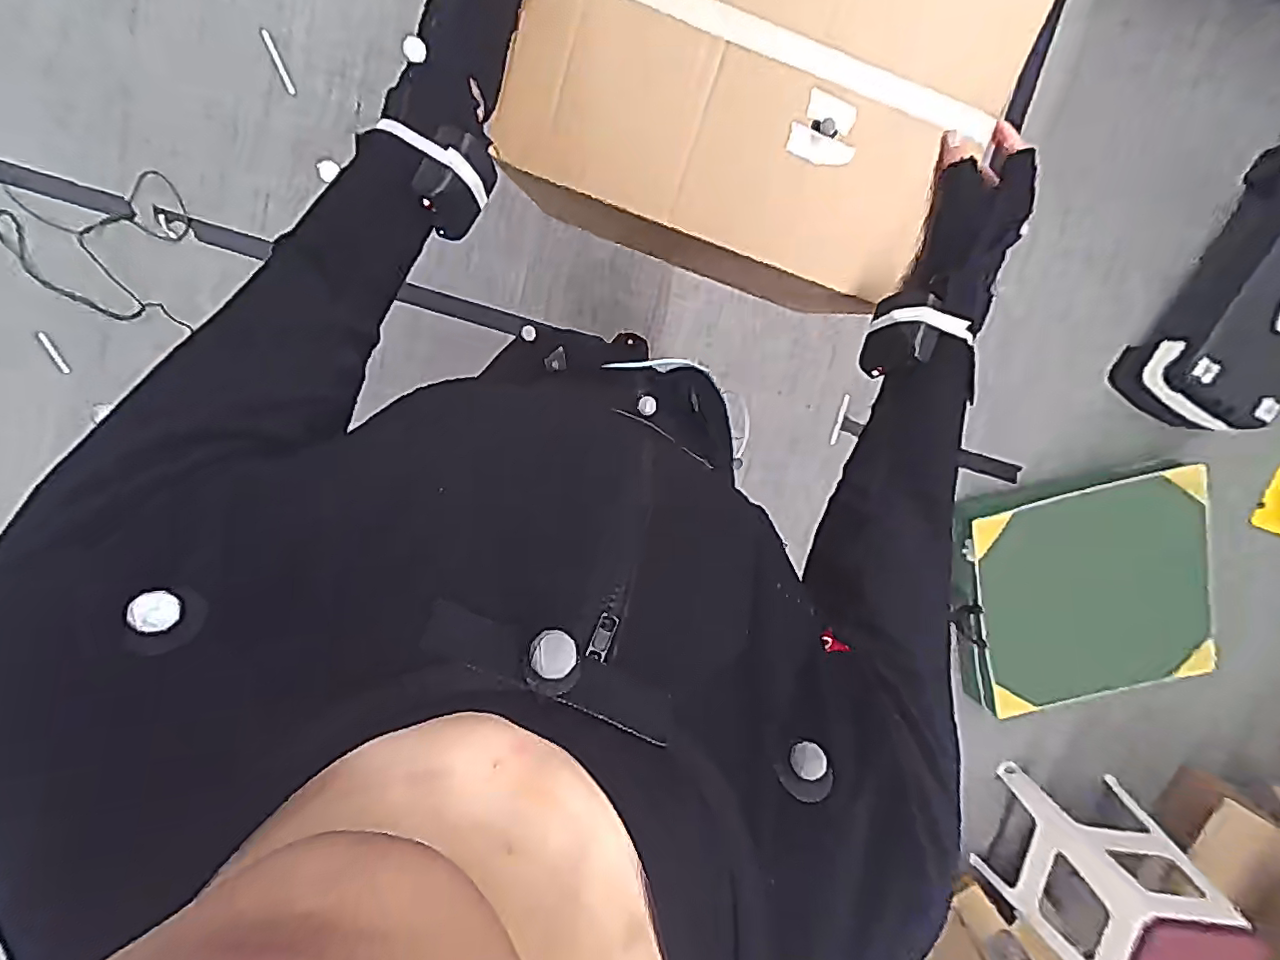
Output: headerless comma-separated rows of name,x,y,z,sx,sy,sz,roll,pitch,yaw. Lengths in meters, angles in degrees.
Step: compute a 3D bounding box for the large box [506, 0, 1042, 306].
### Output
large box,0.109,-0.409,0.599,0.408,0.320,0.320,18,108,-7
